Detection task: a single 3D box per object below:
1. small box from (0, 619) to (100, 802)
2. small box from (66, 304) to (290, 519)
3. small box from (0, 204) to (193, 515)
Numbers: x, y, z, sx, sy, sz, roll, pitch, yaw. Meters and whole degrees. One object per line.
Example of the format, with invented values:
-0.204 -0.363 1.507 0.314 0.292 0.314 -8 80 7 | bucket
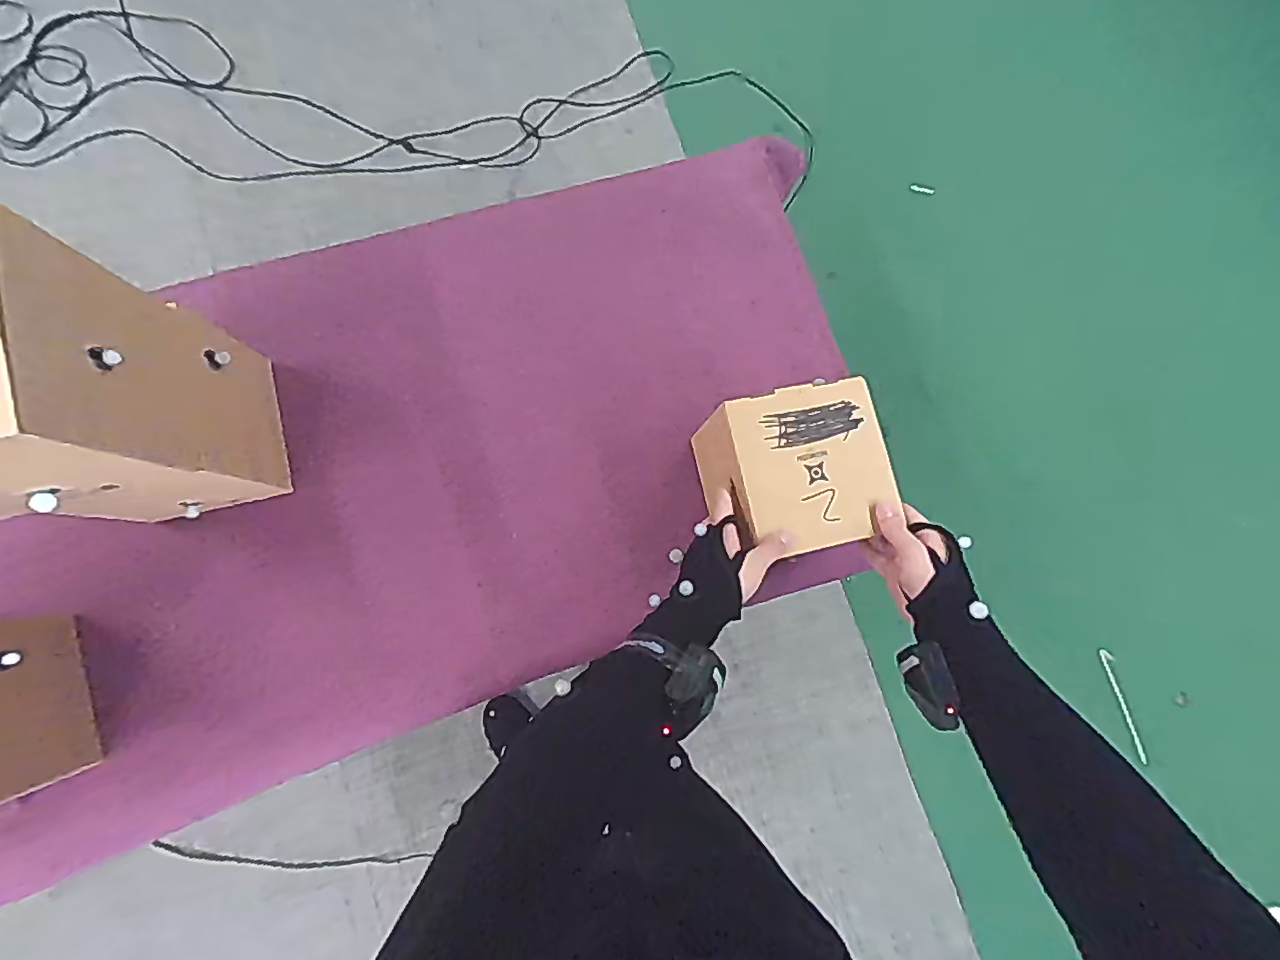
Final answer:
-0.695 0.244 0.526 0.168 0.176 0.179 -18 83 -8 | small box
-0.520 -0.063 0.590 0.168 0.176 0.179 -13 84 -8 | small box
-0.506 -0.080 0.427 0.168 0.176 0.179 -15 84 -8 | small box
